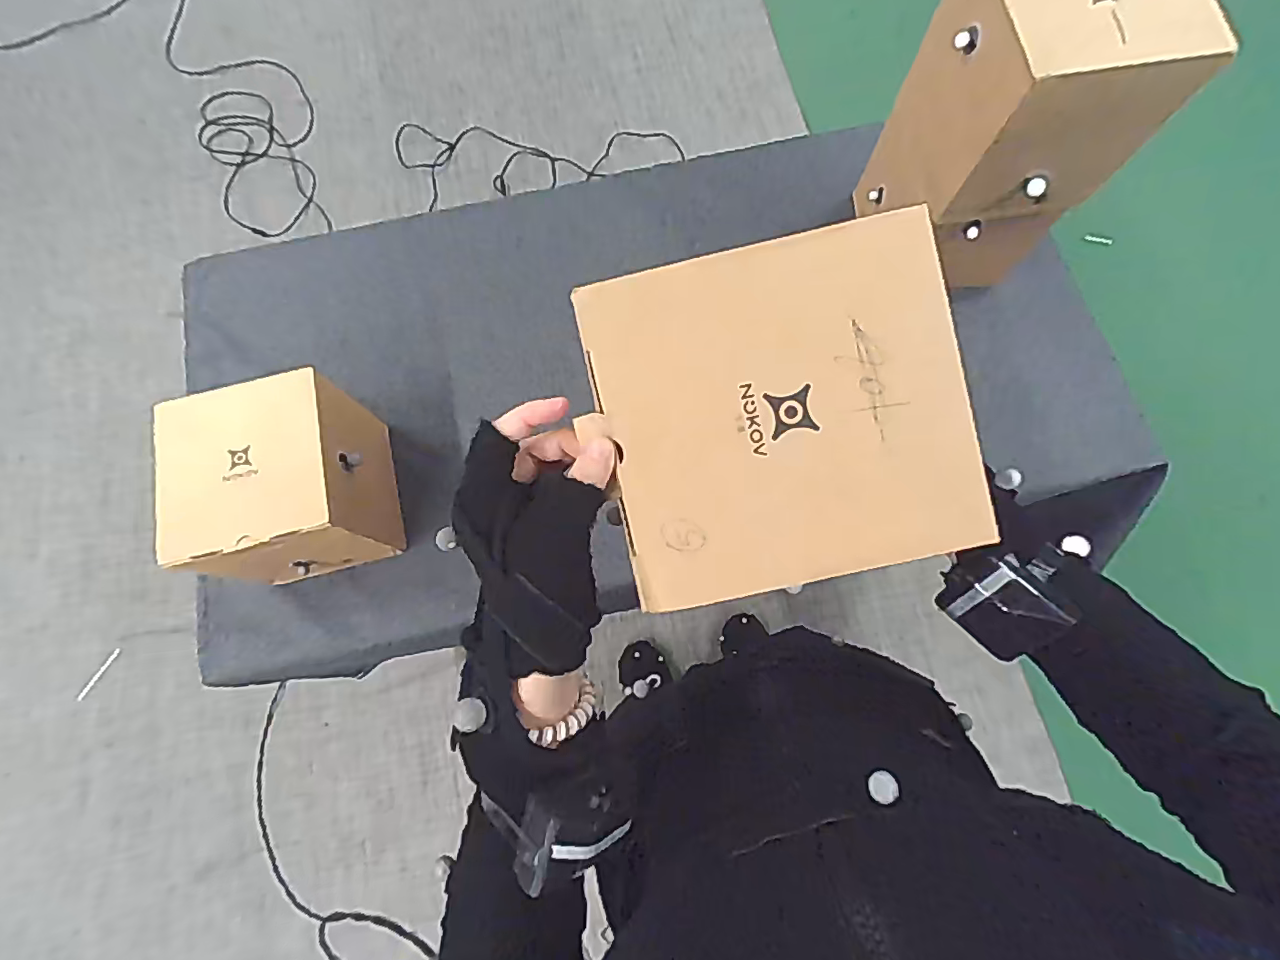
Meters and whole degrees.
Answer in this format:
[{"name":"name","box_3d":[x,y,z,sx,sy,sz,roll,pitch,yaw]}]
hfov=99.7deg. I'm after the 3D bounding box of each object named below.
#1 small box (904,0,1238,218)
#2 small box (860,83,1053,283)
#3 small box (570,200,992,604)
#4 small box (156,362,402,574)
[{"name":"small box","box_3d":[0.385,-0.392,0.526,0.168,0.176,0.179,-7,76,0]},{"name":"small box","box_3d":[0.395,-0.368,0.689,0.179,0.176,0.168,-1,76,1]},{"name":"small box","box_3d":[0.070,-0.037,0.337,0.179,0.176,0.168,-13,92,2]},{"name":"small box","box_3d":[-0.392,-0.003,0.612,0.168,0.176,0.179,-14,75,-3]}]
